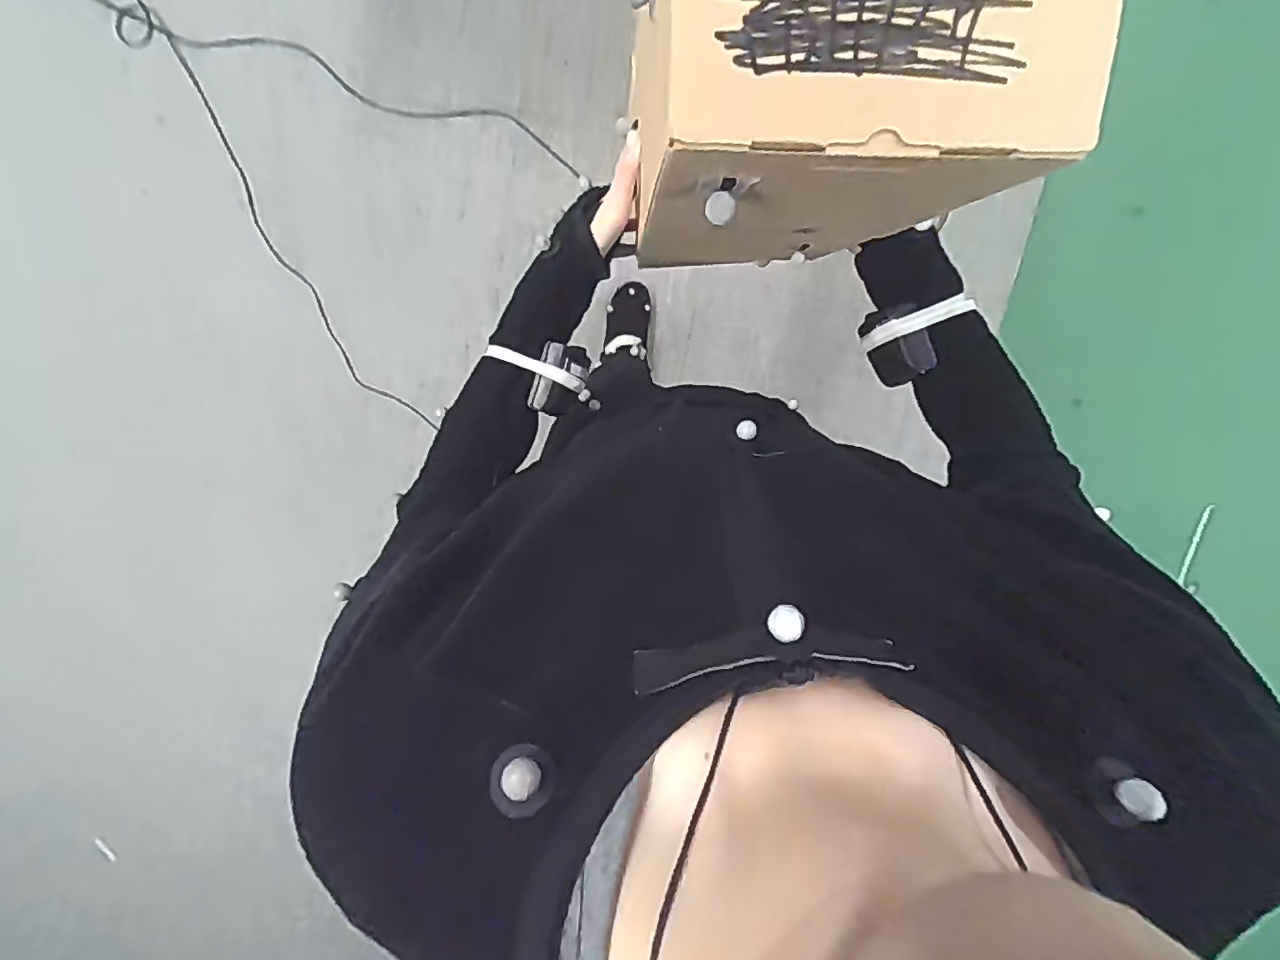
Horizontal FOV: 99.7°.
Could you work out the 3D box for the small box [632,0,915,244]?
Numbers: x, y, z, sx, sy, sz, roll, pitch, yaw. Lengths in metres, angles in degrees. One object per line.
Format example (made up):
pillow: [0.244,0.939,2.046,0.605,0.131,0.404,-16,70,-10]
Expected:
small box: [0.085,-0.290,0.424,0.179,0.176,0.168,-1,104,-2]
